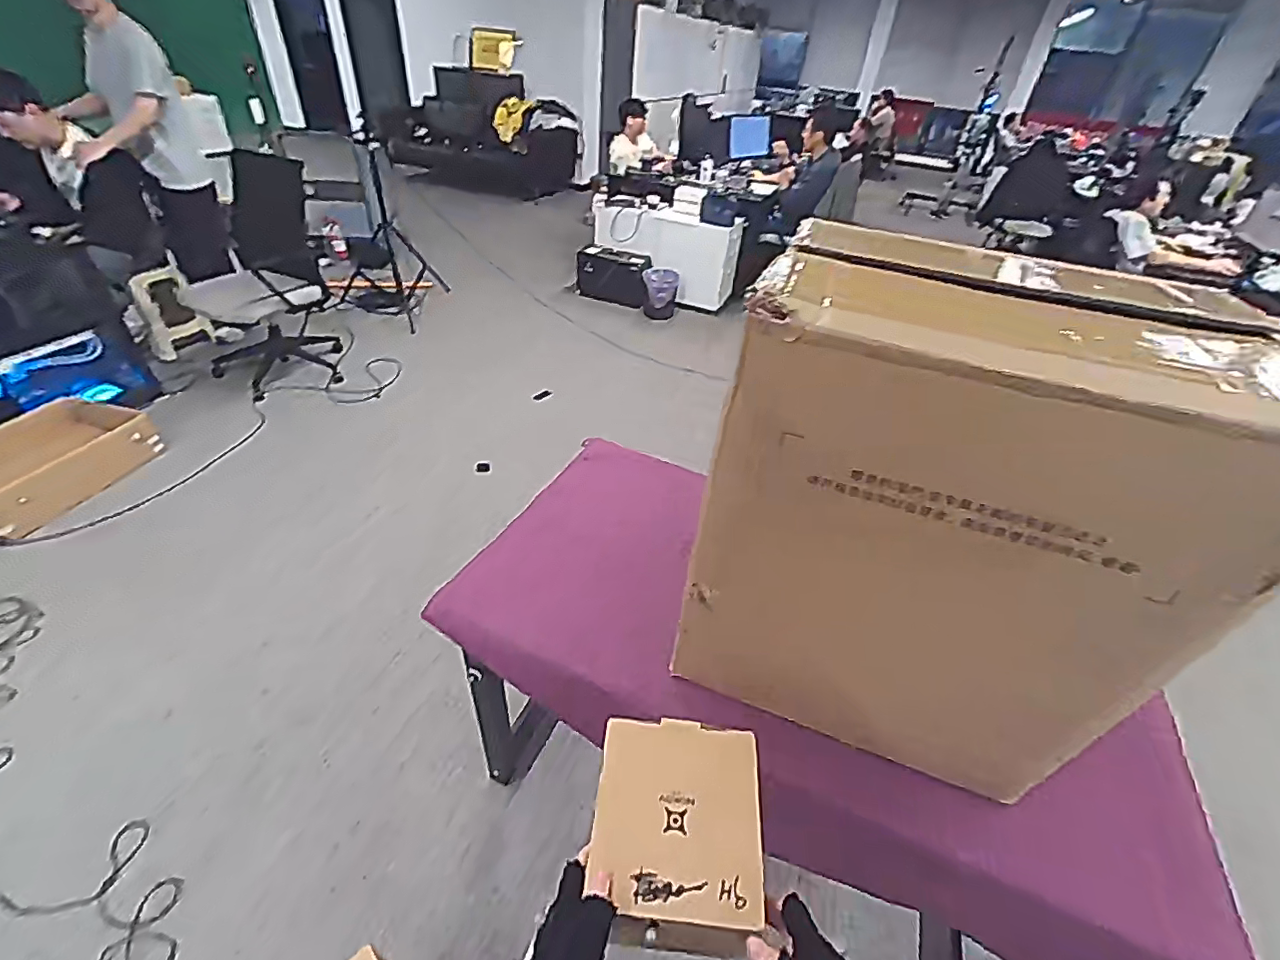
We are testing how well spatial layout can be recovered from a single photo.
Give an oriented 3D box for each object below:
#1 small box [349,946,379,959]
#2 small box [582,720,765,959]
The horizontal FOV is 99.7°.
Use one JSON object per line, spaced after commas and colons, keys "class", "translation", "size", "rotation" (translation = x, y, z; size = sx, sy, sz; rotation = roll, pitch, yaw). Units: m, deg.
{"class": "small box", "translation": [-0.460, 0.910, 0.861], "size": [0.168, 0.176, 0.179], "rotation": [-28, 49, -36]}
{"class": "small box", "translation": [0.036, 0.391, 0.588], "size": [0.168, 0.176, 0.179], "rotation": [3, 41, 4]}
